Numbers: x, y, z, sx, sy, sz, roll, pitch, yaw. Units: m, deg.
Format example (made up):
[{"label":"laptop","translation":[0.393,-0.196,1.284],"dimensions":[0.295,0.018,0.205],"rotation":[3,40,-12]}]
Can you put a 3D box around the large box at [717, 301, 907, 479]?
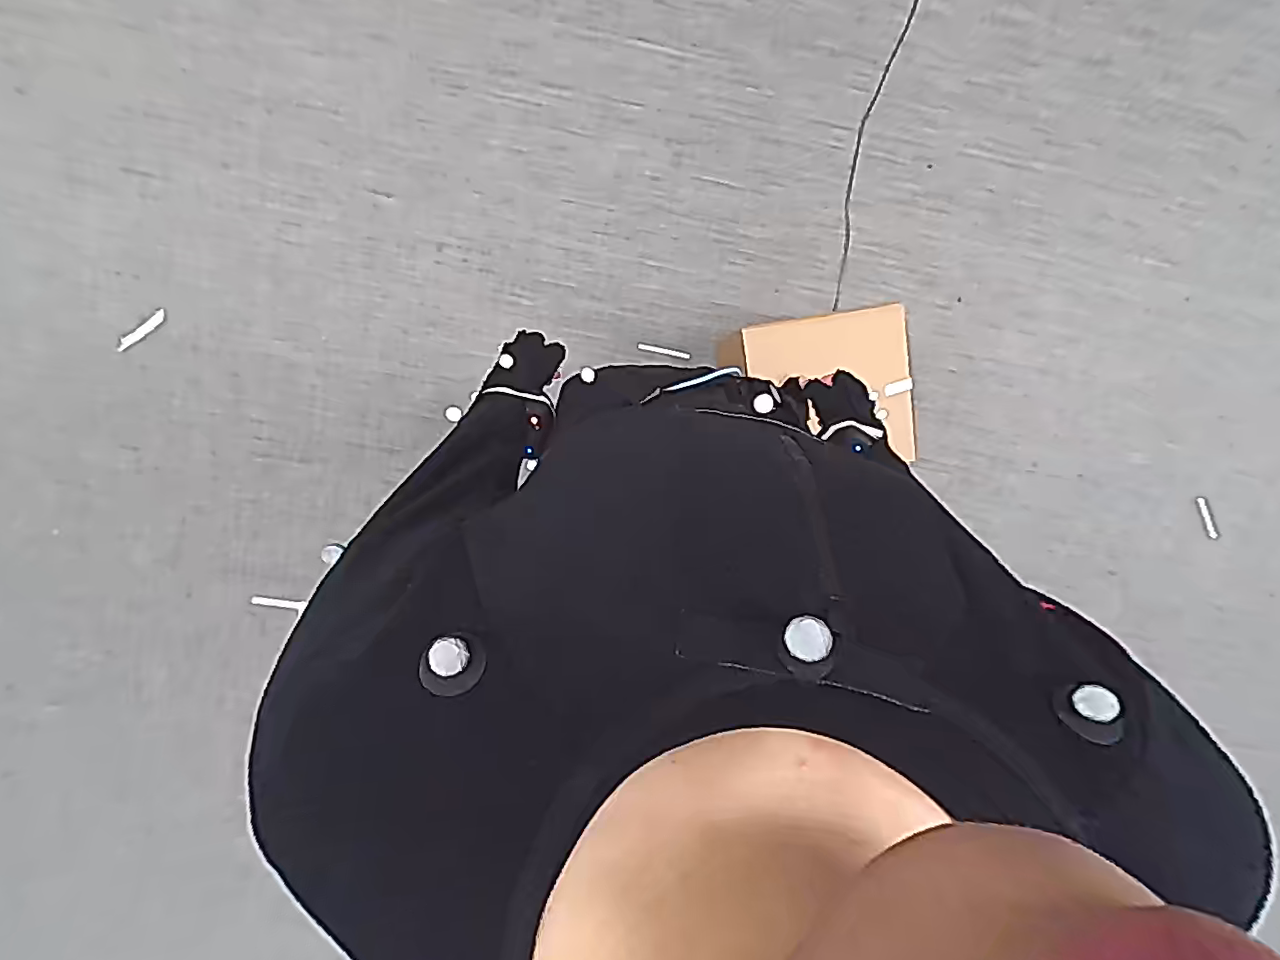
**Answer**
[{"label":"large box","translation":[0.372,-0.206,1.255],"dimensions":[0.320,0.408,0.320],"rotation":[-8,101,4]}]
